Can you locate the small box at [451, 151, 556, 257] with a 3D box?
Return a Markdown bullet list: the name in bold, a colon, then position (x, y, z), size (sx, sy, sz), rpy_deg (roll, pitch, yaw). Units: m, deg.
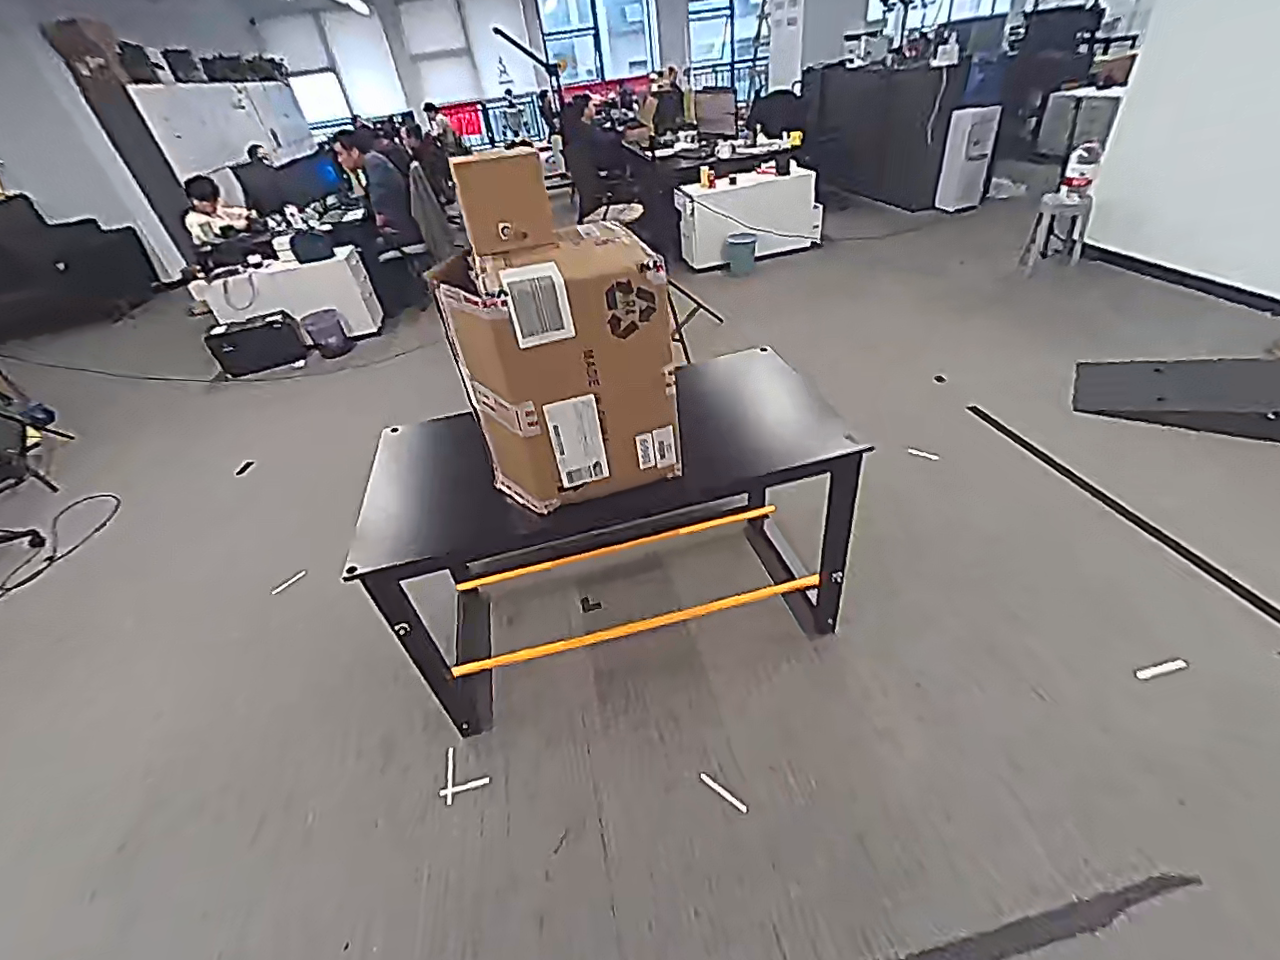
- **small box**: position (-0.283, -0.574, 1.123), size (0.168, 0.176, 0.179), rpy_deg (-17, 37, -12)
